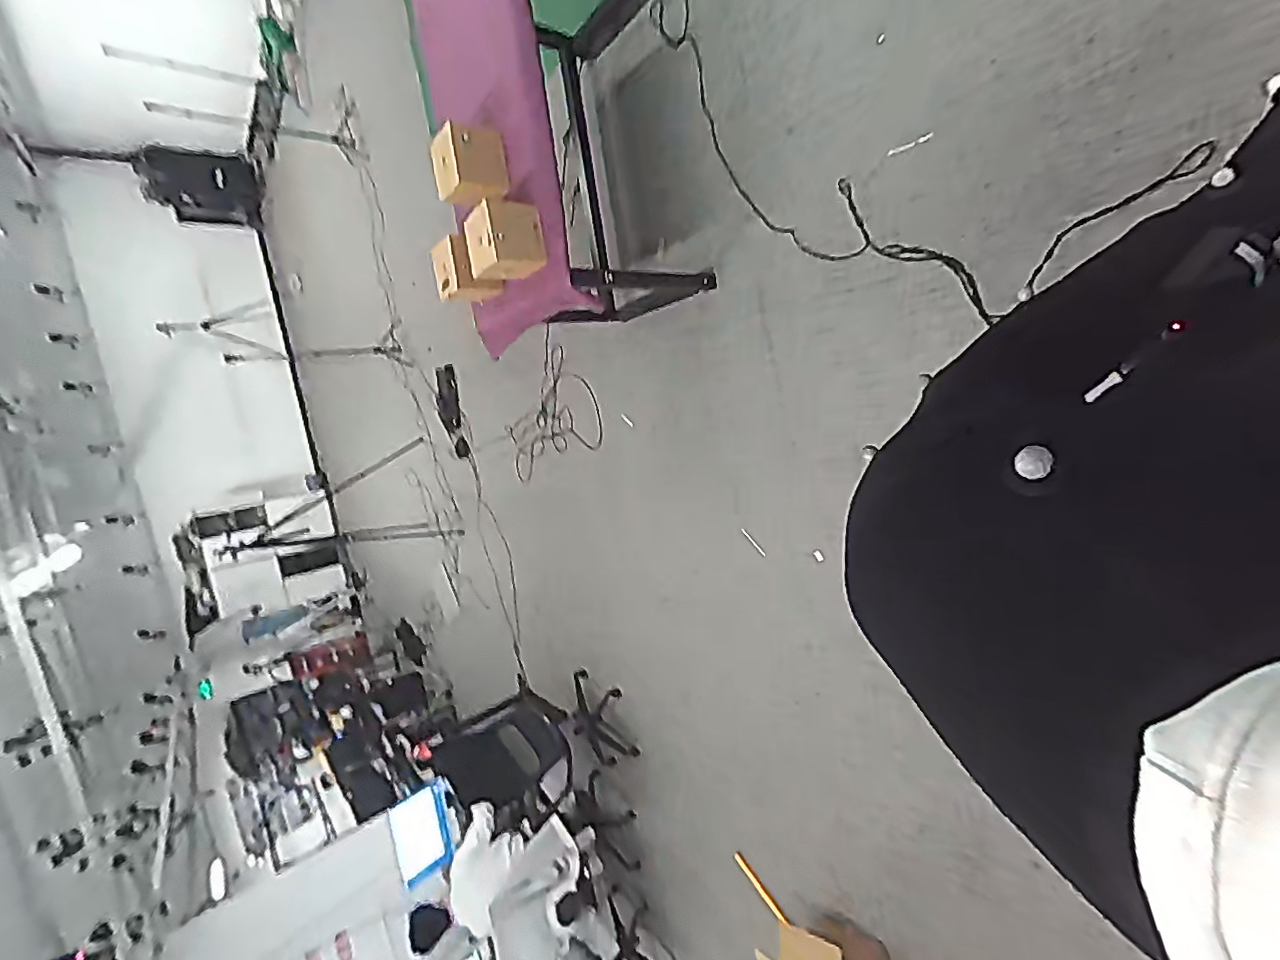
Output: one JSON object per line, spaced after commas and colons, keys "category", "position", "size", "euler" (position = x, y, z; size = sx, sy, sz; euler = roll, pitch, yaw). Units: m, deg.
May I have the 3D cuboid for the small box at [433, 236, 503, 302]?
{"category": "small box", "position": [-0.582, -0.714, 1.845], "size": [0.168, 0.176, 0.179], "euler": [1, 102, 50]}

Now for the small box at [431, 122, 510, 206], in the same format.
{"category": "small box", "position": [-0.528, -0.975, 1.689], "size": [0.168, 0.176, 0.179], "euler": [3, 104, 51]}

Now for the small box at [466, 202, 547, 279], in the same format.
{"category": "small box", "position": [-0.399, -0.708, 1.619], "size": [0.179, 0.176, 0.168], "euler": [-1, 102, 53]}
